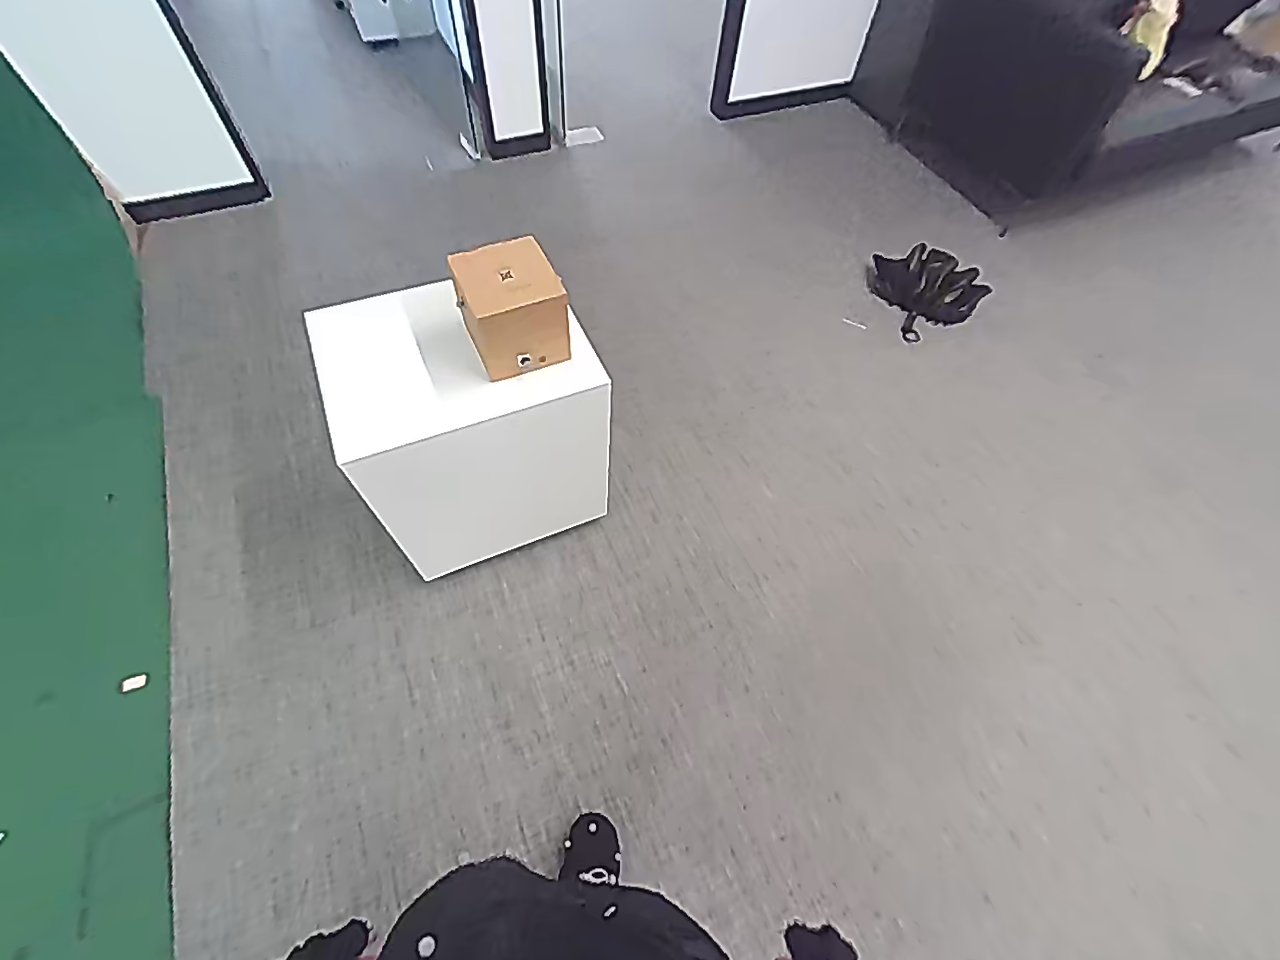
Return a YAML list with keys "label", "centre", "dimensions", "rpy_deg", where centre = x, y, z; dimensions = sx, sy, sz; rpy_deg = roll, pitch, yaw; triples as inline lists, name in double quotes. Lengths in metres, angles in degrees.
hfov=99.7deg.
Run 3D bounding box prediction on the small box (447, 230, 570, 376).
- label: "small box"
  centre: [-0.239, -0.327, 1.010]
  dimensions: [0.168, 0.176, 0.179]
  rpy_deg: [-23, 65, -15]
